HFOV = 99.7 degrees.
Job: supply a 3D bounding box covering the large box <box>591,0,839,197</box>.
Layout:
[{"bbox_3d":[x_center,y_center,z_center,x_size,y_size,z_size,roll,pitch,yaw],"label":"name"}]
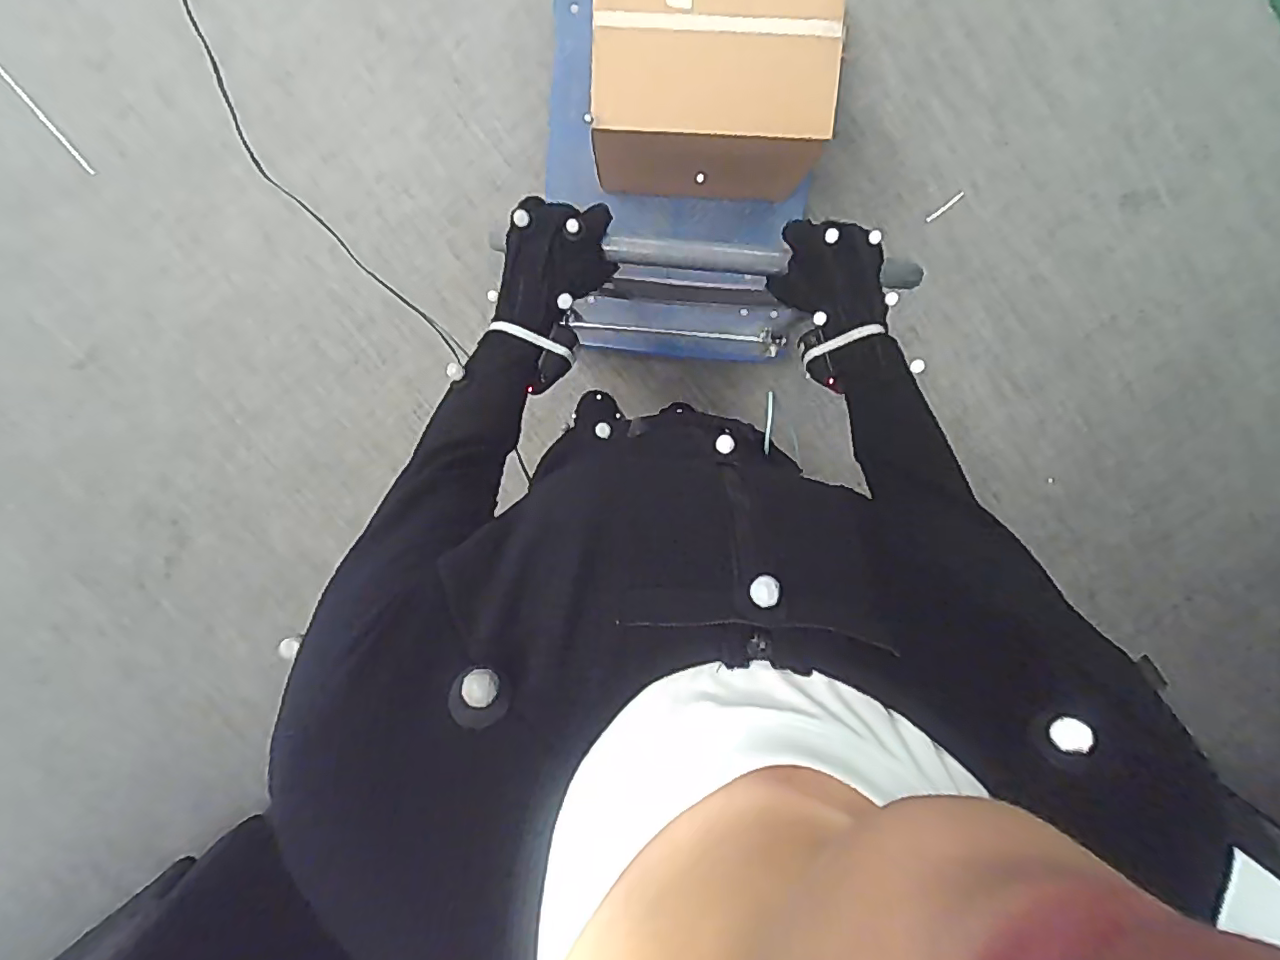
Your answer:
[{"bbox_3d":[0.121,-0.748,1.023,0.408,0.320,0.320,2,100,-1],"label":"large box"}]
